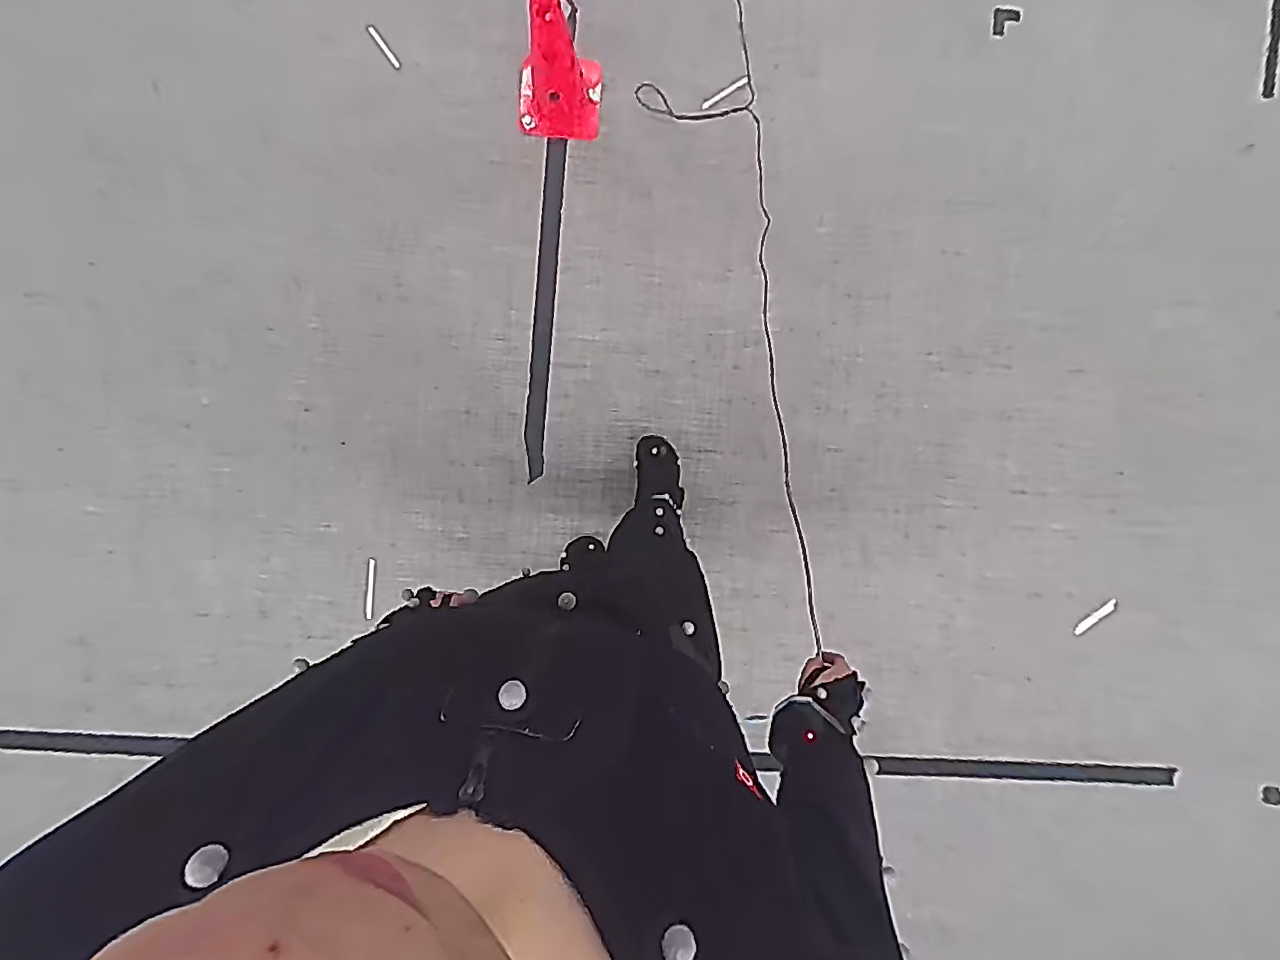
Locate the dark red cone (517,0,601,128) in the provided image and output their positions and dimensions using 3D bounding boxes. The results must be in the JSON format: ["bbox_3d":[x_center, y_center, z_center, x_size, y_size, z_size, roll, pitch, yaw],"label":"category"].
[{"bbox_3d":[-0.188,-0.964,1.157,0.201,0.394,0.202,3,90,-3],"label":"dark red cone"}]
